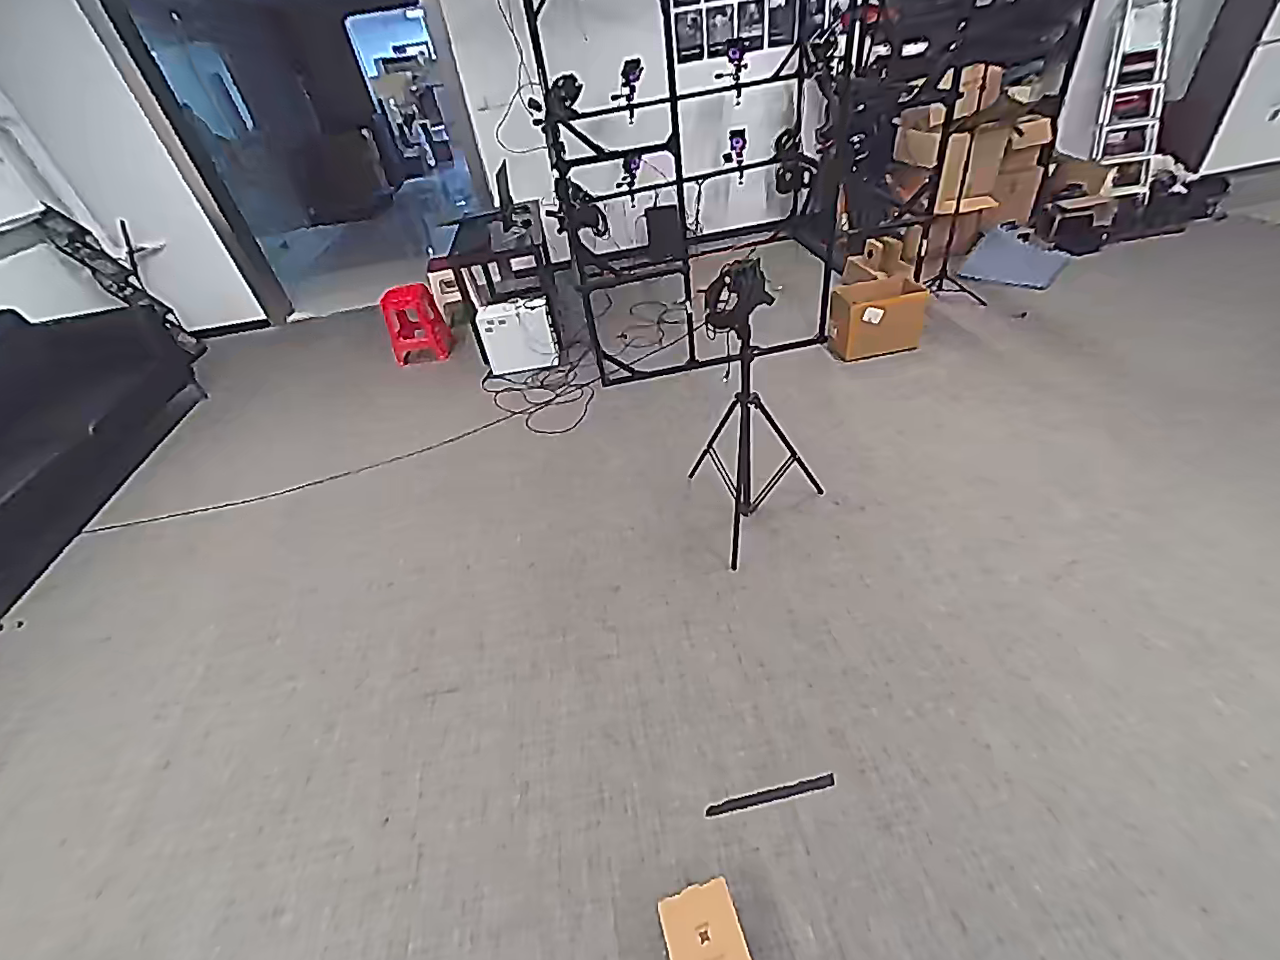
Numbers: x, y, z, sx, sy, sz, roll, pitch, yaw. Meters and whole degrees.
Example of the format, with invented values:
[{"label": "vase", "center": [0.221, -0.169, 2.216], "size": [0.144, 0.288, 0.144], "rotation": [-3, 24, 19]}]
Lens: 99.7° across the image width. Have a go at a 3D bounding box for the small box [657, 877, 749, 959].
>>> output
[{"label": "small box", "center": [0.145, 1.049, 1.224], "size": [0.168, 0.176, 0.179], "rotation": [-16, 40, -7]}]
